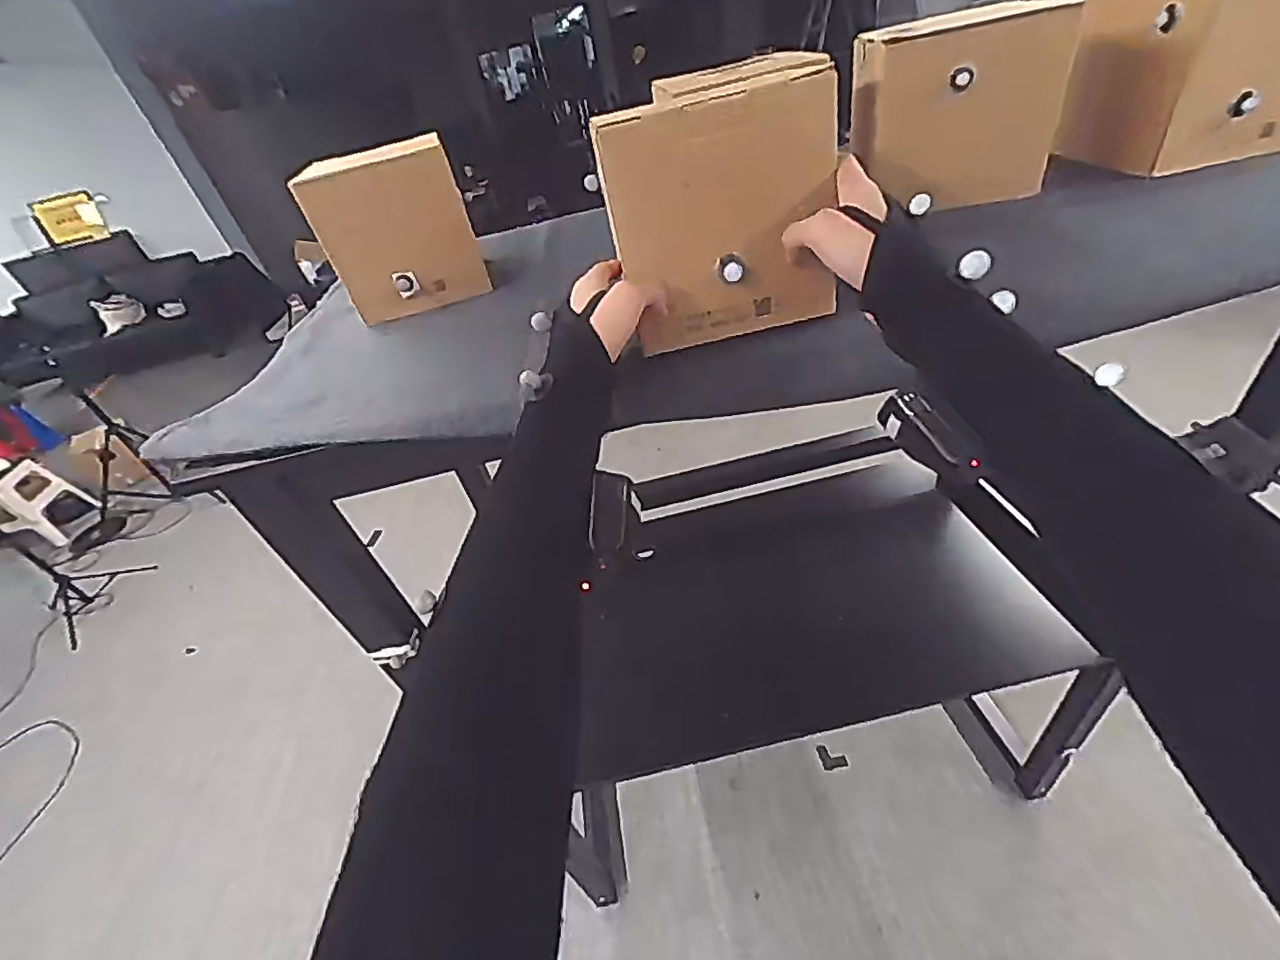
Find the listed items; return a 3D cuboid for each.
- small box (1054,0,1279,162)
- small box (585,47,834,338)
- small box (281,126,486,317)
[{"bbox_3d":[0.587,-0.451,0.568,0.168,0.176,0.179,-11,39,4],"label":"small box"},{"bbox_3d":[0.053,-0.240,0.463,0.168,0.176,0.179,-13,35,3],"label":"small box"},{"bbox_3d":[-0.308,-0.328,0.685,0.168,0.176,0.179,-20,40,-7],"label":"small box"}]
